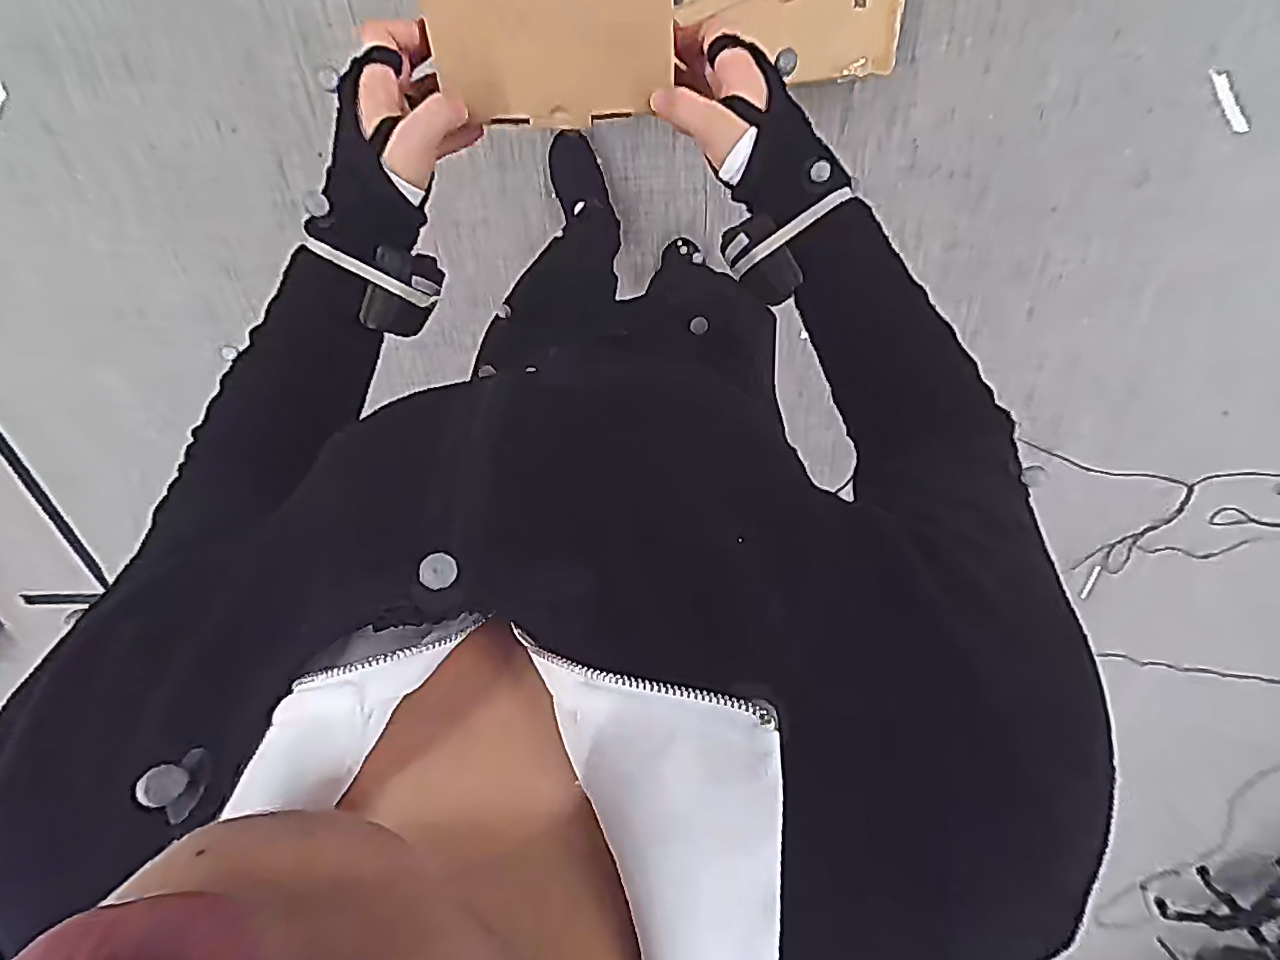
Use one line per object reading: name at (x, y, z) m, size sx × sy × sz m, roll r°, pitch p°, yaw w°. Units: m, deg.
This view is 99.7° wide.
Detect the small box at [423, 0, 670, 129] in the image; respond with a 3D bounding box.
small box at (-0.060, -0.378, 0.404) m, size 0.168 × 0.176 × 0.179 m, roll -1°, pitch 128°, yaw 0°
